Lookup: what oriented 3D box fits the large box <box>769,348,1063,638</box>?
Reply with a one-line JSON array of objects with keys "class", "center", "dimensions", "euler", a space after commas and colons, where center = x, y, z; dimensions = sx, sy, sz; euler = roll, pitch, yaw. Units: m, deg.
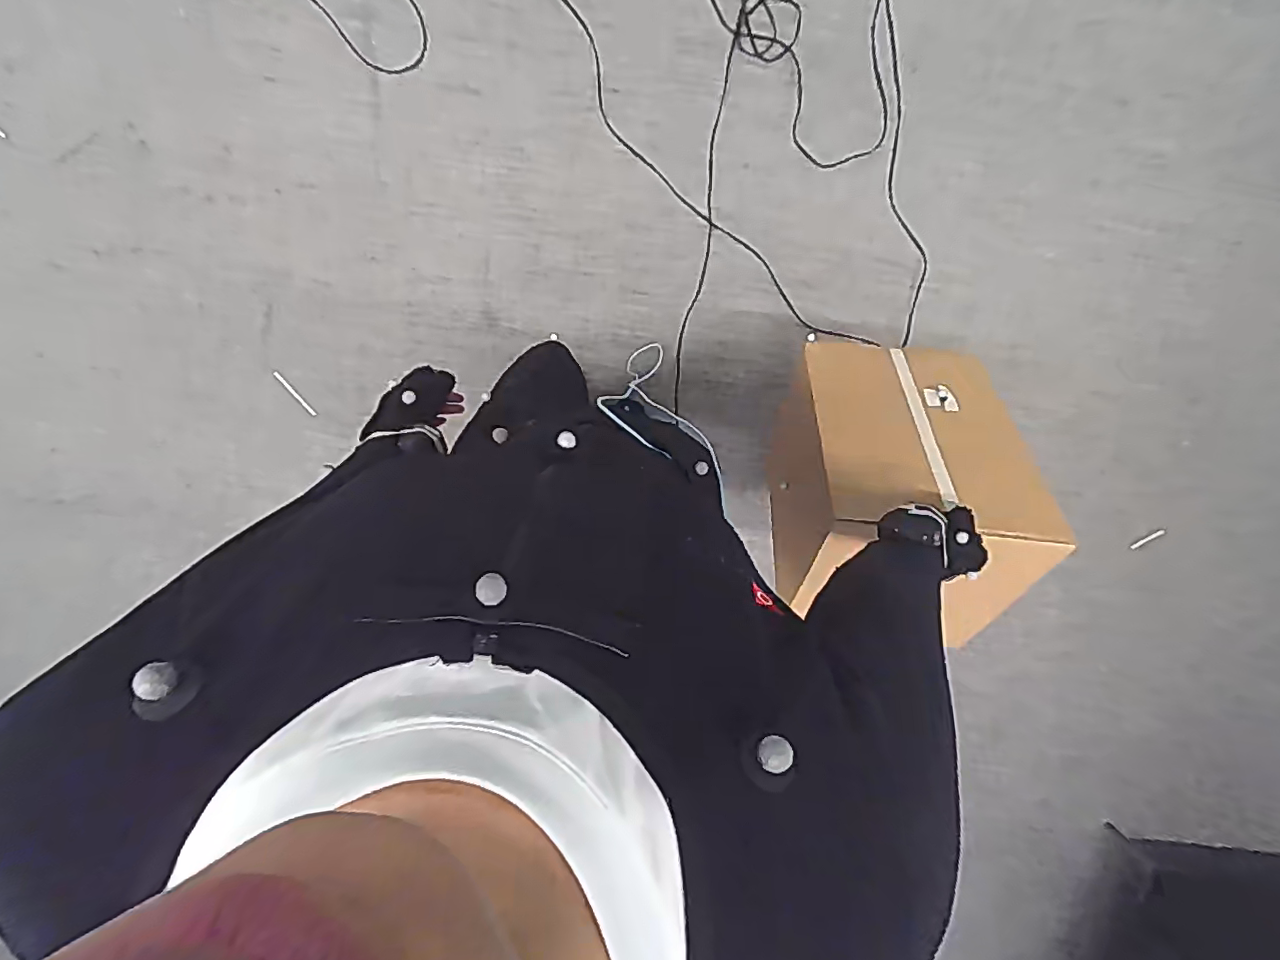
[{"class": "large box", "center": [0.420, 0.020, 0.955], "dimensions": [0.320, 0.408, 0.320], "euler": [7, 138, 2]}]
